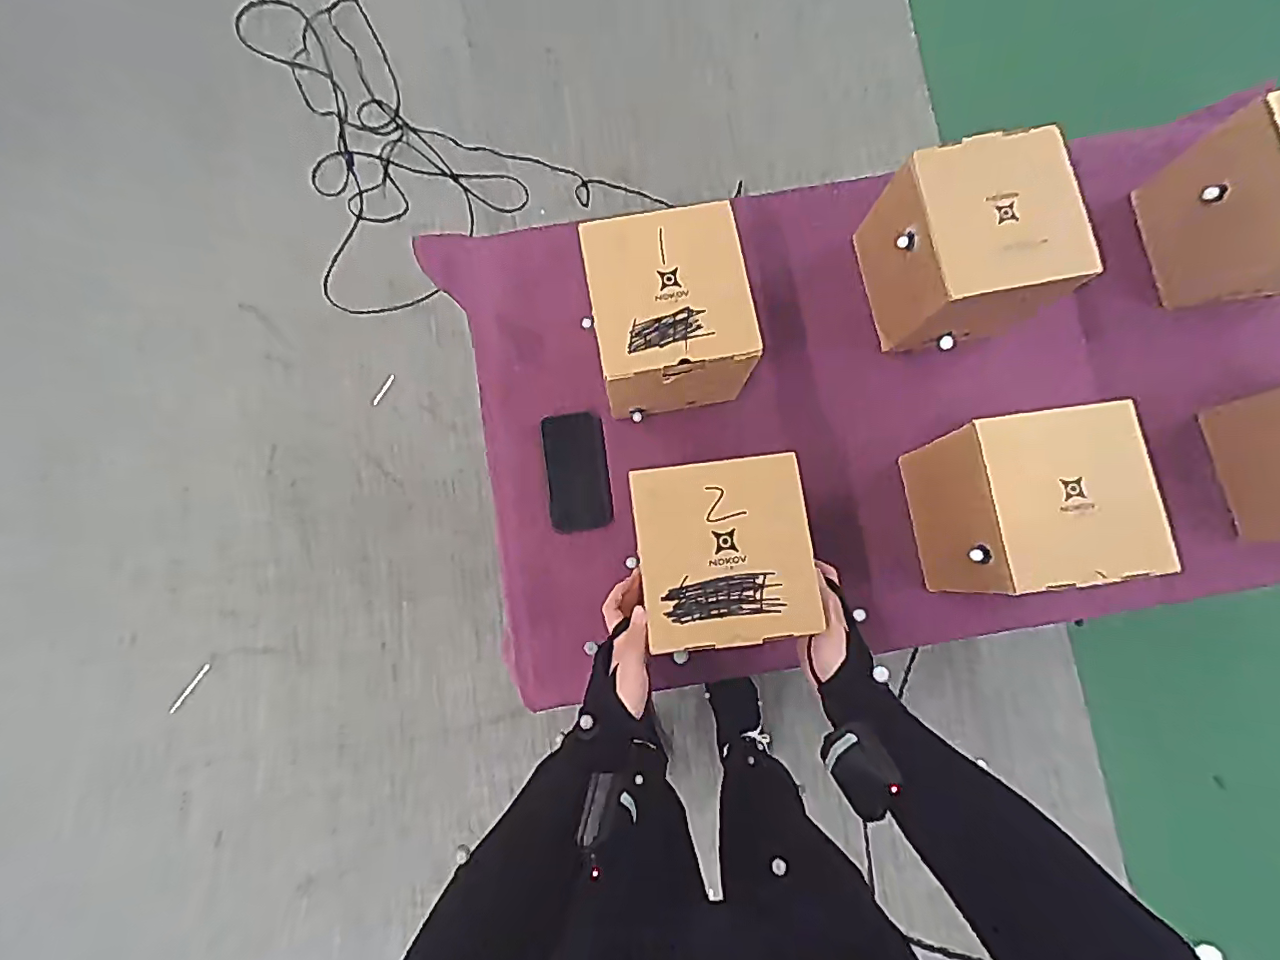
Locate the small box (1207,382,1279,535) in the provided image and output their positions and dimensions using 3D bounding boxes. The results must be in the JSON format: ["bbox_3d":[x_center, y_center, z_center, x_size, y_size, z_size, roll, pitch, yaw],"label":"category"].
[{"bbox_3d":[0.809,-0.039,0.604,0.168,0.176,0.179,-11,82,0],"label":"small box"}]

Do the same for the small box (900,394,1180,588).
[{"bbox_3d":[0.417,0.022,0.600,0.168,0.176,0.179,-8,81,-1],"label":"small box"}]

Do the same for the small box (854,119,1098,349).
[{"bbox_3d":[0.378,-0.279,0.646,0.168,0.176,0.179,-10,82,0],"label":"small box"}]

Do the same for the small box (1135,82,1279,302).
[{"bbox_3d":[0.761,-0.342,0.653,0.168,0.176,0.179,-8,81,0],"label":"small box"}]

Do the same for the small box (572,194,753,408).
[{"bbox_3d":[0.023,-0.192,0.632,0.168,0.176,0.179,-10,81,-2],"label":"small box"}]
